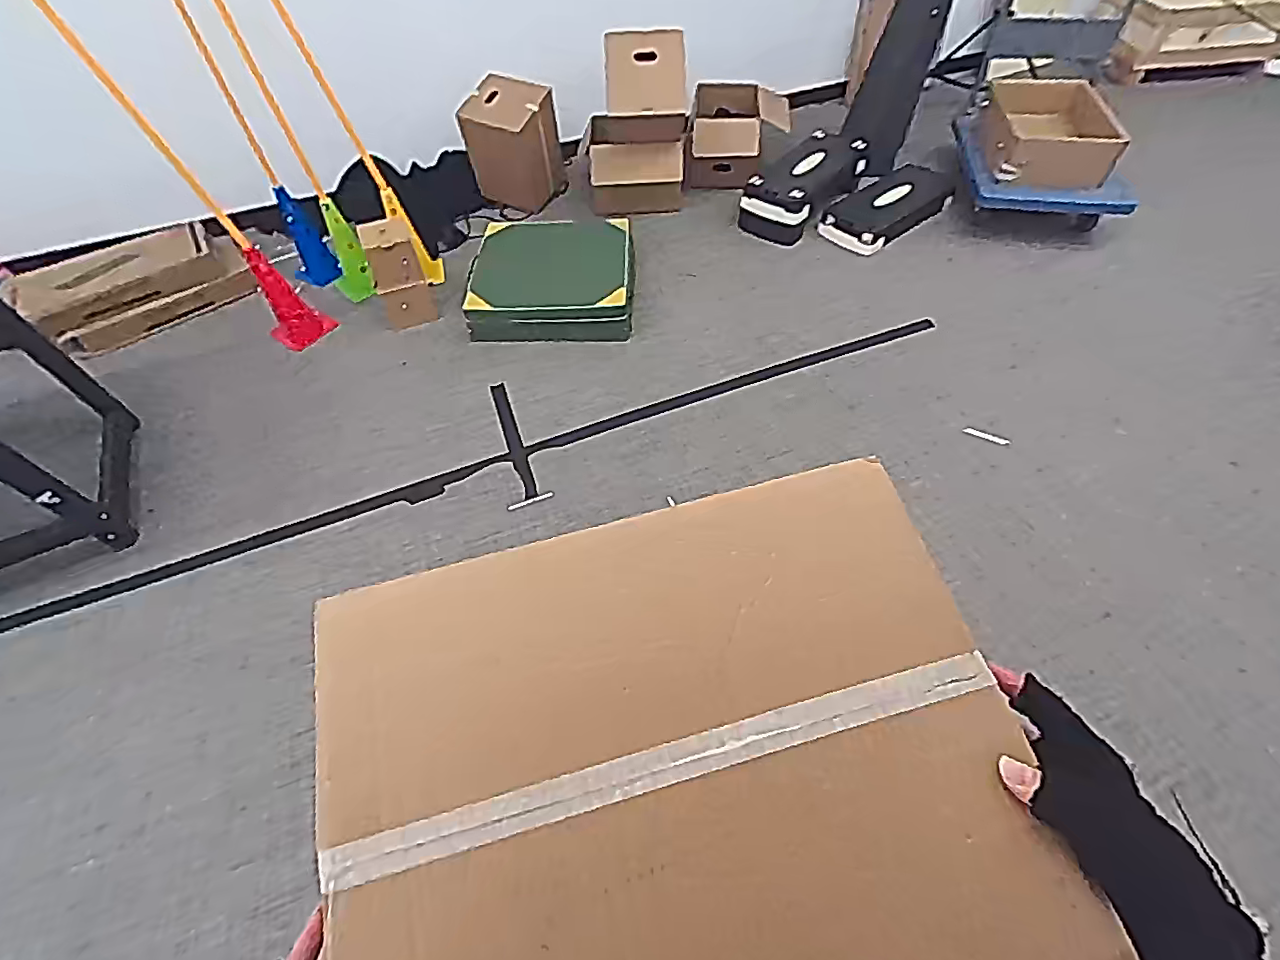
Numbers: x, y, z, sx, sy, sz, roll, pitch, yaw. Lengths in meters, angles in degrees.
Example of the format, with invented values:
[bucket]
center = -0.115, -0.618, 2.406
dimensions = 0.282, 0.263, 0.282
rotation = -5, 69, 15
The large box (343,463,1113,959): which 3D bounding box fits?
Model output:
[large box]
center = 0.027, 0.233, 0.465
dimensions = 0.408, 0.320, 0.320
rotation = -15, 66, -5
